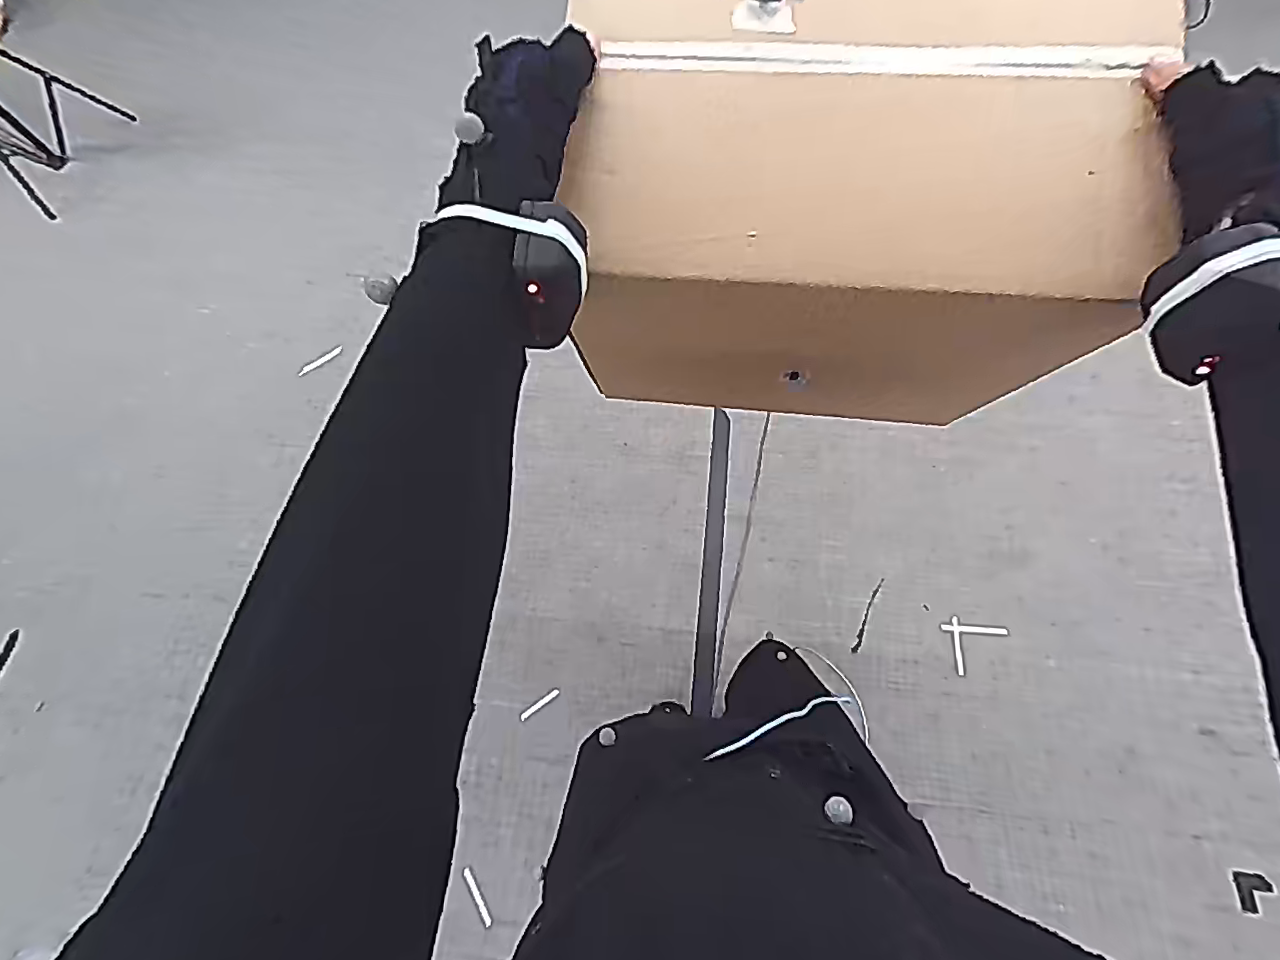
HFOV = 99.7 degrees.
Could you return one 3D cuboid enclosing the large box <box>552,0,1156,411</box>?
[{"bbox_3d":[0.164,-0.261,0.531,0.408,0.320,0.320,6,82,7],"label":"large box"}]
